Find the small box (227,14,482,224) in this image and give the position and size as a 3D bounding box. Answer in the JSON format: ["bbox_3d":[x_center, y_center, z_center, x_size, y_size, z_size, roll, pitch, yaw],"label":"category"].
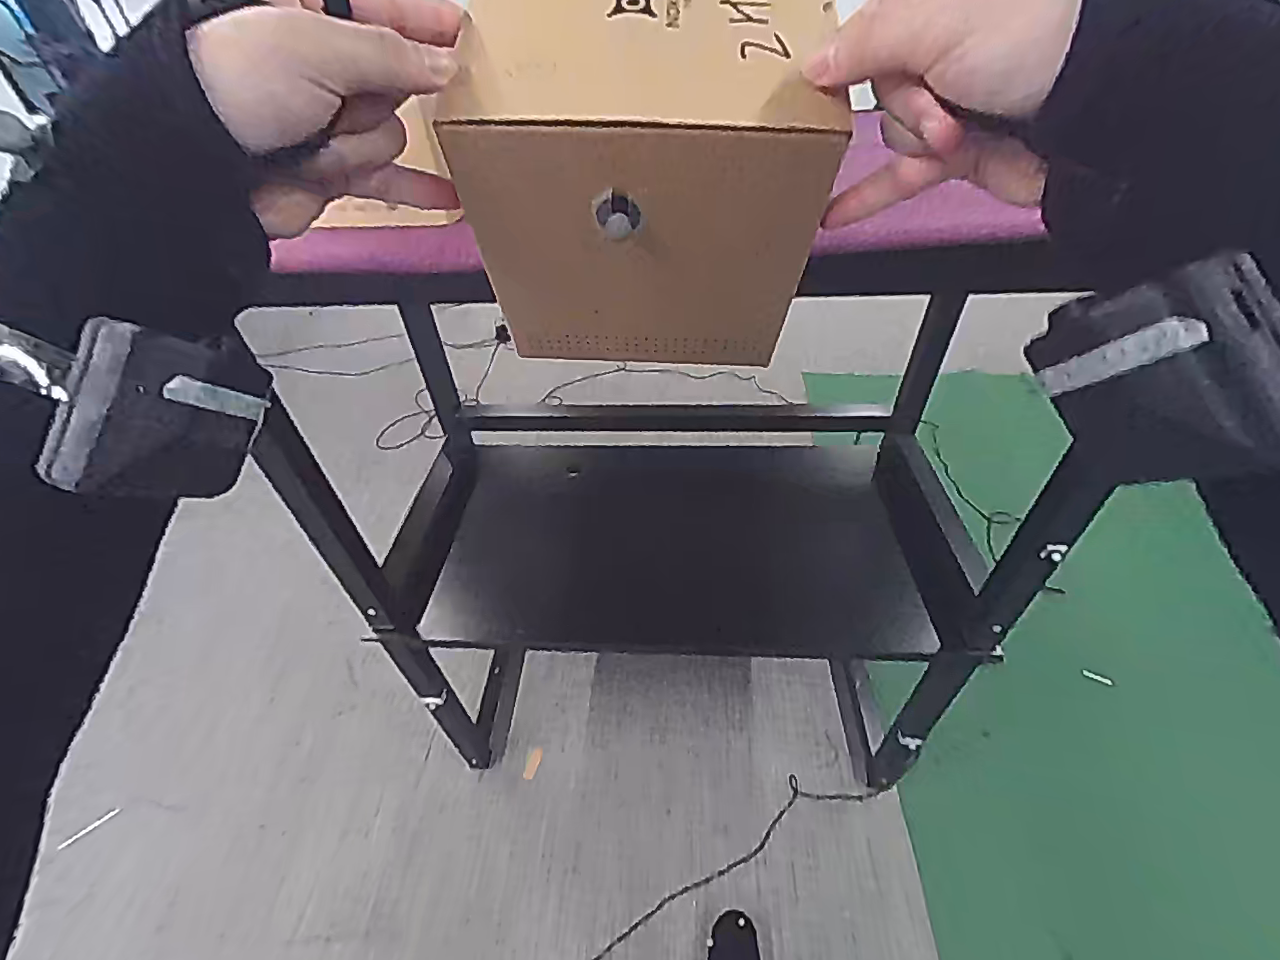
[{"bbox_3d":[-0.278,-0.388,0.589,0.168,0.176,0.179,0,41,5],"label":"small box"}]

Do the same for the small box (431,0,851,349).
[{"bbox_3d":[0.005,-0.195,0.323,0.179,0.176,0.168,2,68,2],"label":"small box"}]
